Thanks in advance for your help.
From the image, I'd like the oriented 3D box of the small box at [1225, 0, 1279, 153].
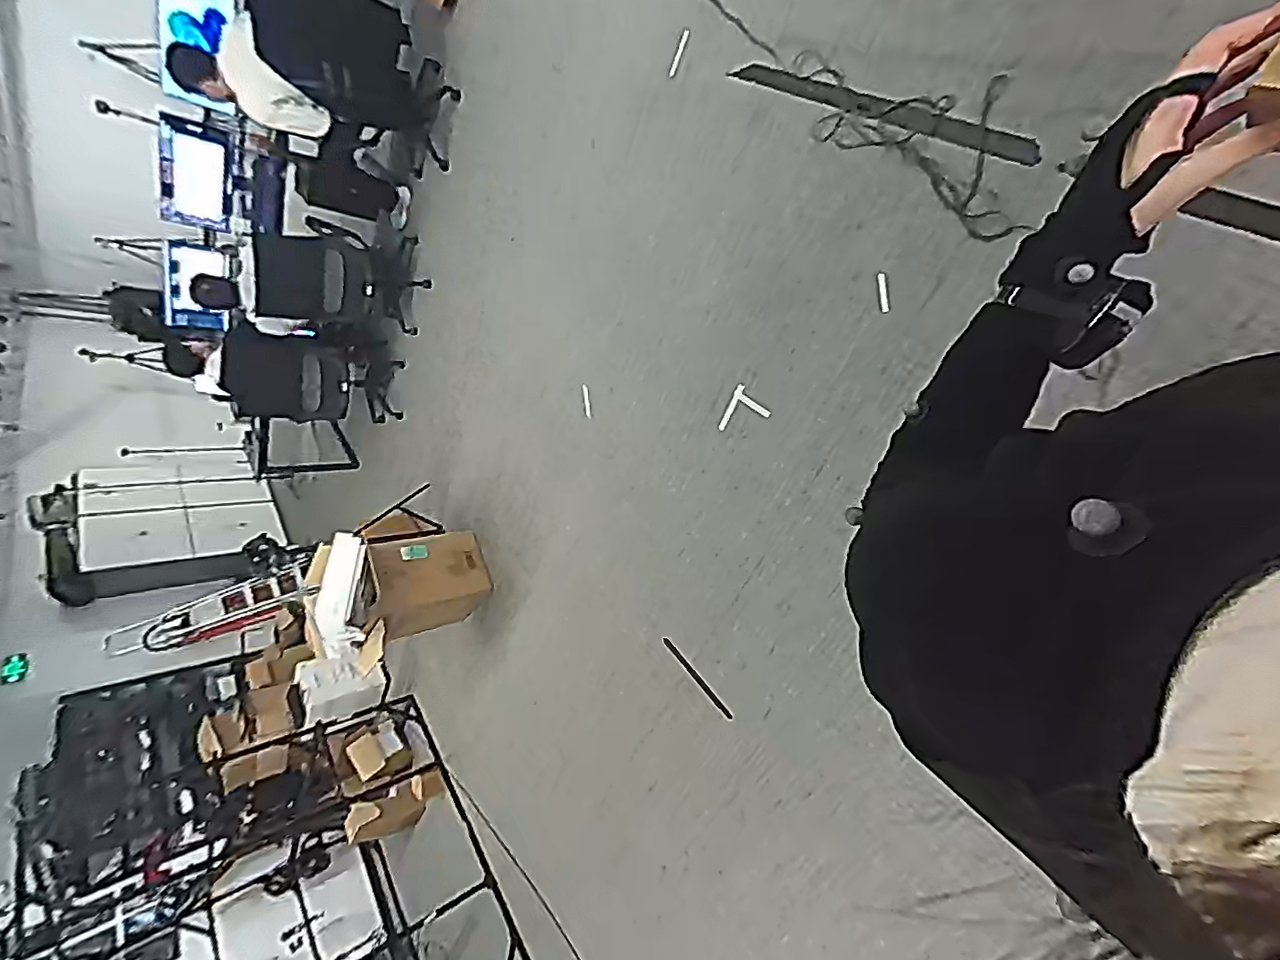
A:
[{"bbox_3d":[0.444,-0.249,0.254,0.179,0.176,0.168,39,128,33],"label":"small box"}]
